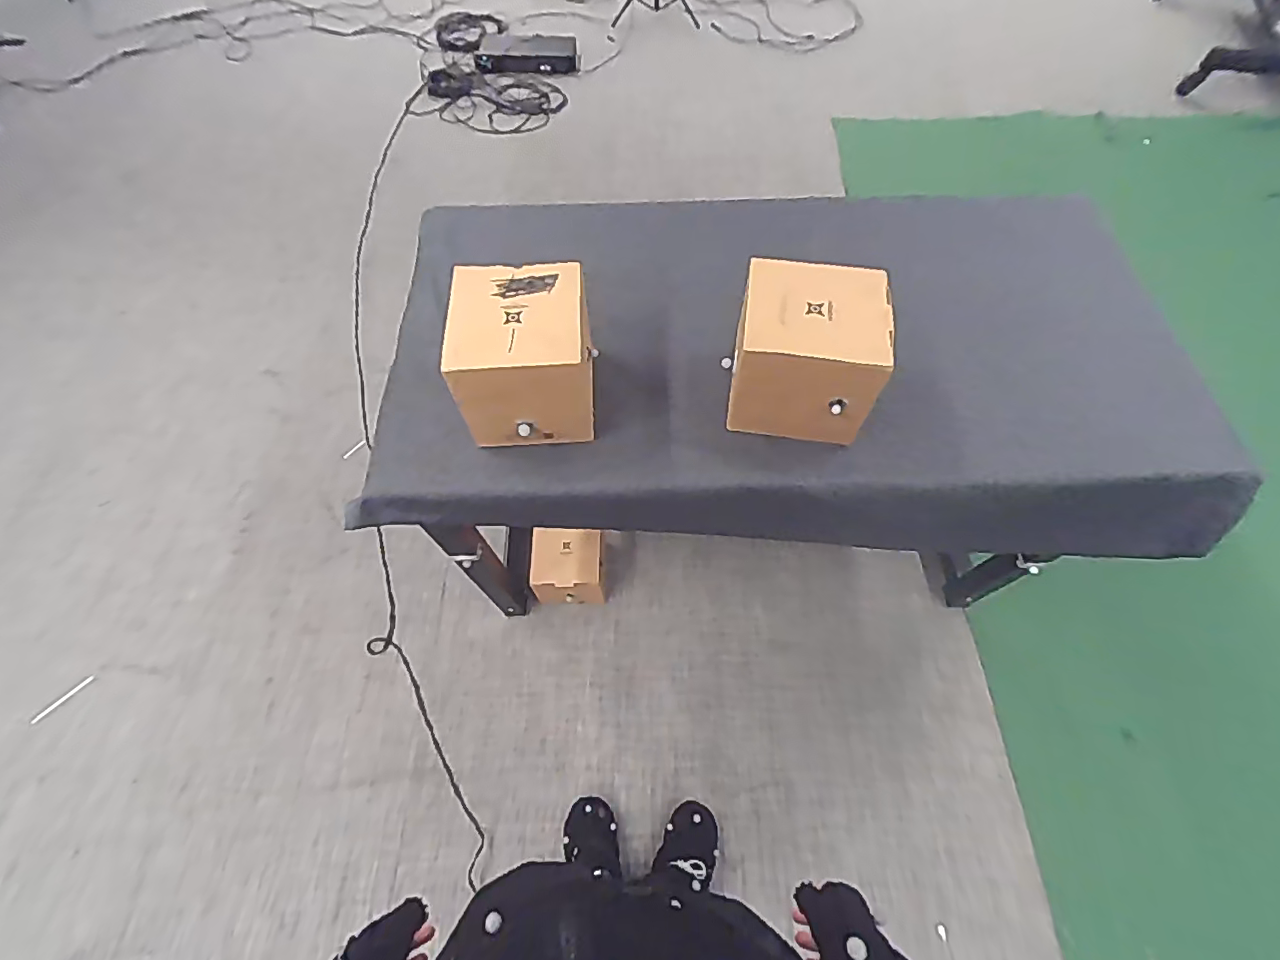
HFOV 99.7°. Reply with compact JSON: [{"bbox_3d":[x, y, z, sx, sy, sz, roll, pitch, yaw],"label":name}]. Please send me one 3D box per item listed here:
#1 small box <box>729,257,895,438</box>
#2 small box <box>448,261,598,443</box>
[{"bbox_3d":[0.224,-0.174,0.738,0.179,0.176,0.168,6,61,6],"label":"small box"},{"bbox_3d":[-0.146,-0.170,0.738,0.168,0.176,0.179,-4,62,-1],"label":"small box"}]
